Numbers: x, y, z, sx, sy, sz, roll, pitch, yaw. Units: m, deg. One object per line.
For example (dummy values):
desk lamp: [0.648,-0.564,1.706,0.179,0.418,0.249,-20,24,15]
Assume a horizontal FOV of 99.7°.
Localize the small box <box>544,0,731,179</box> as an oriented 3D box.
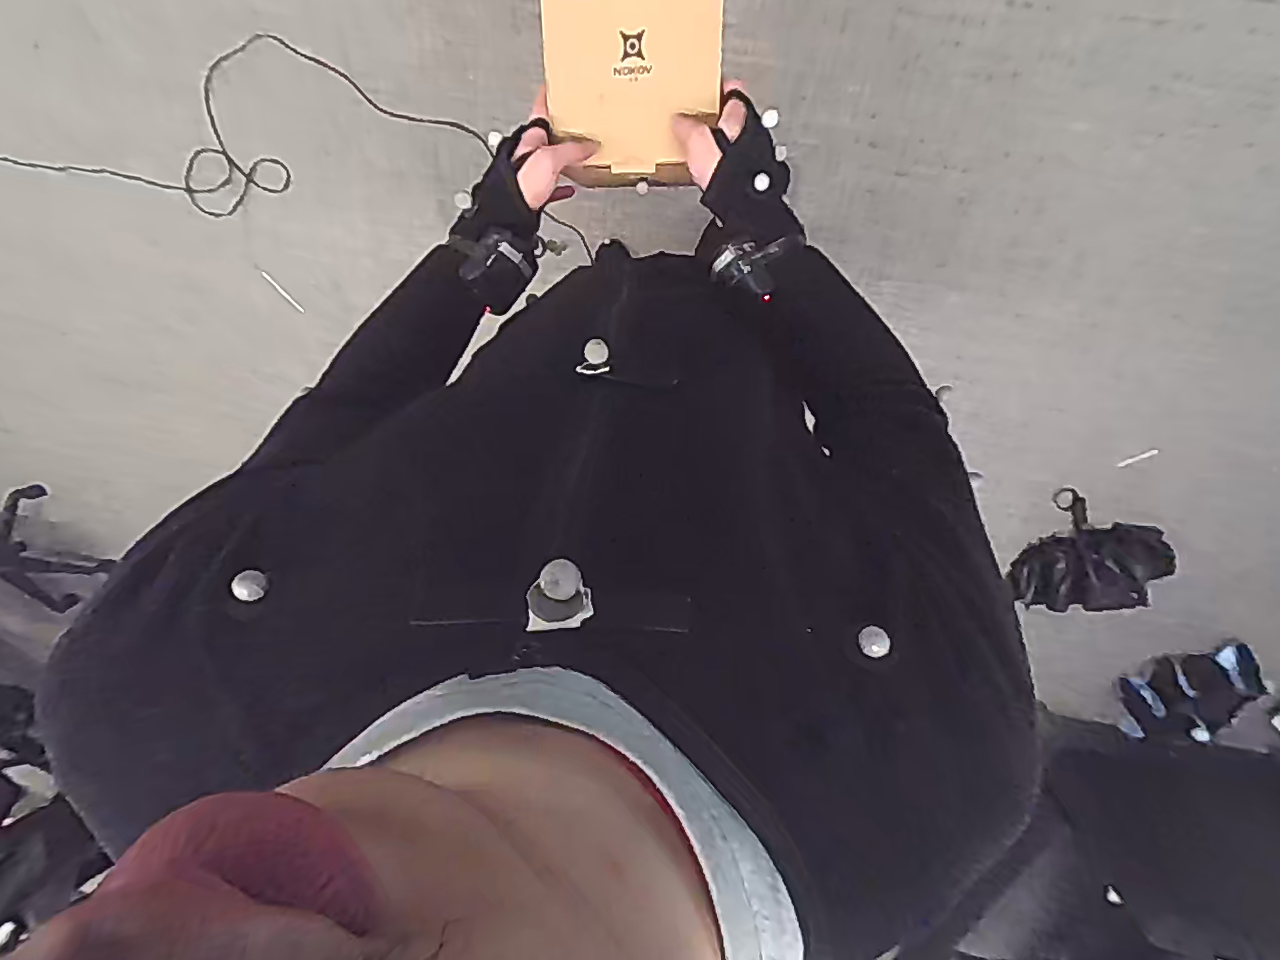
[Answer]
small box: [0.007,-0.414,0.555,0.168,0.176,0.179,1,114,7]
